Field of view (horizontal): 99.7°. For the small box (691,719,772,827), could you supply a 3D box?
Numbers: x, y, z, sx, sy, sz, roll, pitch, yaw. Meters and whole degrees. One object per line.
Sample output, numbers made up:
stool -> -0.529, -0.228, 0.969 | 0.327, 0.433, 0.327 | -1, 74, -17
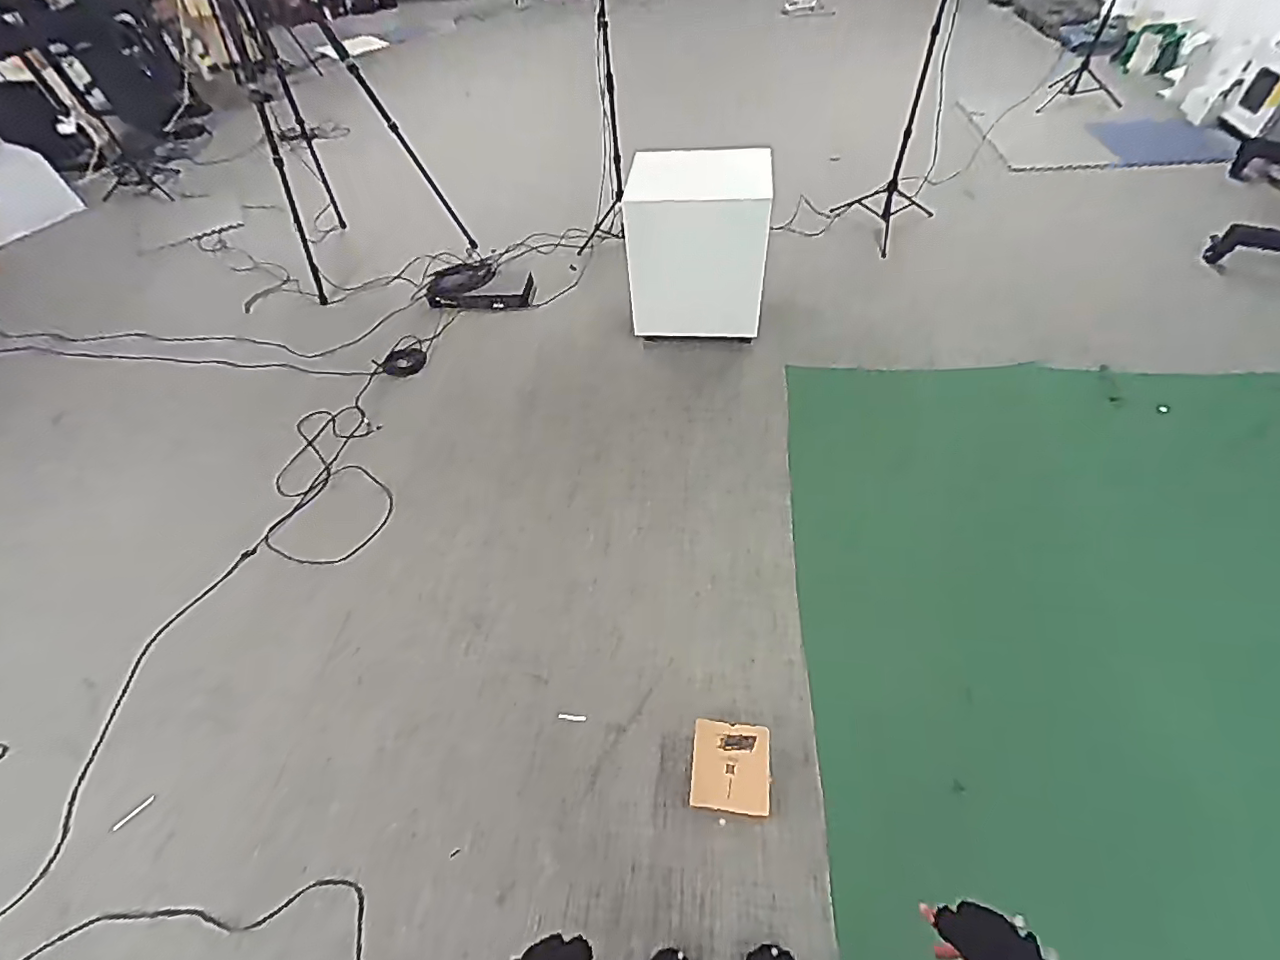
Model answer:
small box -> 0.204, 0.663, 1.222 | 0.168, 0.176, 0.179 | 4, 53, 9
